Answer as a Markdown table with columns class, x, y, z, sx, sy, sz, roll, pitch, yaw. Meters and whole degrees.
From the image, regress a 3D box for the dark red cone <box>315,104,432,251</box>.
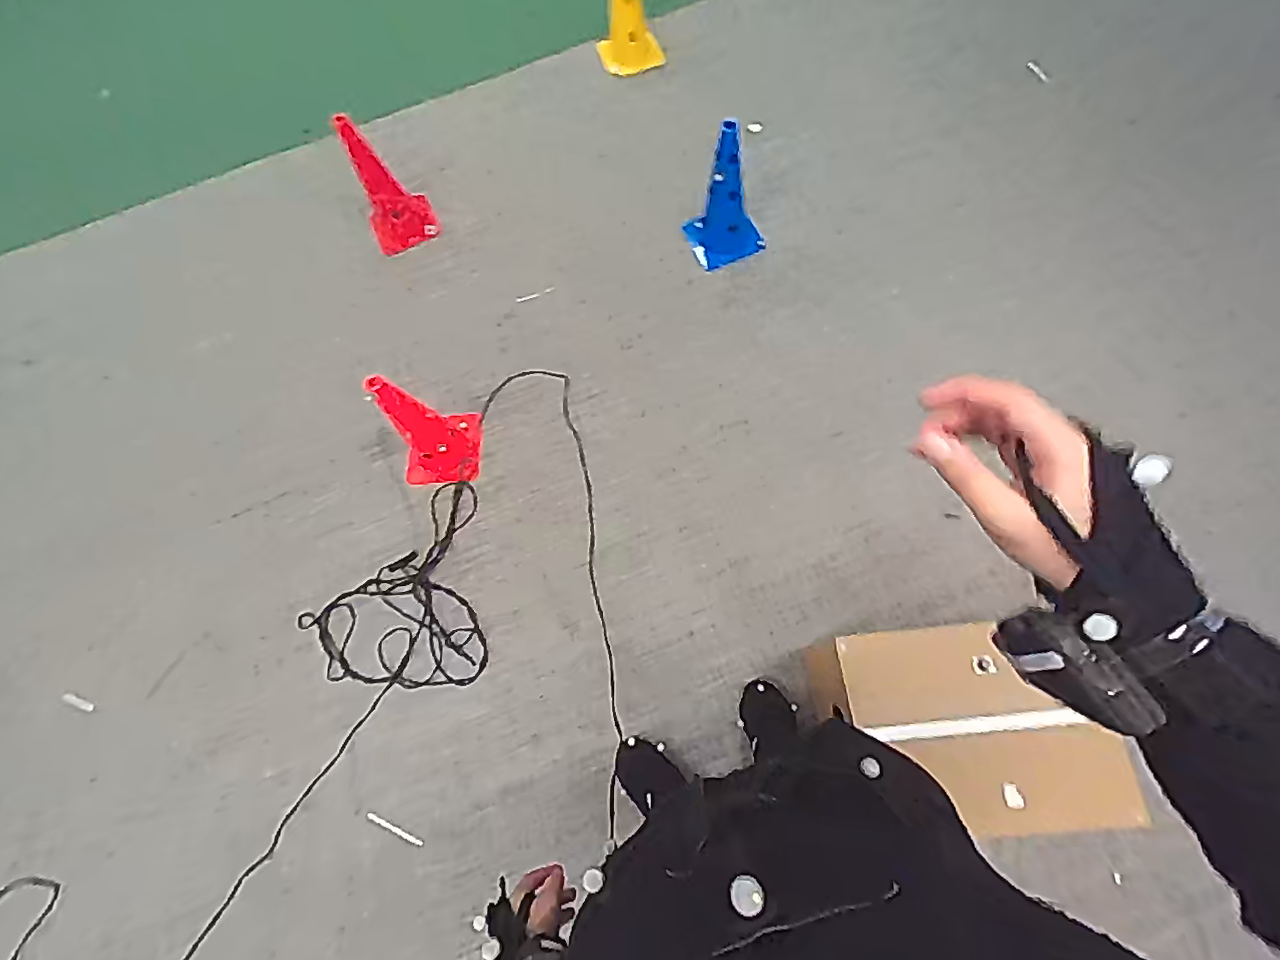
| class | x | y | z | sx | sy | sz | roll | pitch | yaw |
| --- | --- | --- | --- | --- | --- | --- | --- | --- | --- |
| dark red cone | -0.801 | -0.896 | 1.587 | 0.202 | 0.394 | 0.201 | -29 | 66 | -4 |

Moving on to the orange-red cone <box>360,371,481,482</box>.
| class | x | y | z | sx | sy | sz | roll | pitch | yaw |
| --- | --- | --- | --- | --- | --- | --- | --- | --- | --- |
| orange-red cone | -0.554 | -0.150 | 1.302 | 0.199 | 0.360 | 0.198 | -4 | 68 | 7 |

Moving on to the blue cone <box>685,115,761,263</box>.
| class | x | y | z | sx | sy | sz | roll | pitch | yaw |
| --- | --- | --- | --- | --- | --- | --- | --- | --- | --- |
| blue cone | 0.227 | -0.798 | 1.469 | 0.192 | 0.380 | 0.193 | -22 | 69 | -2 |
